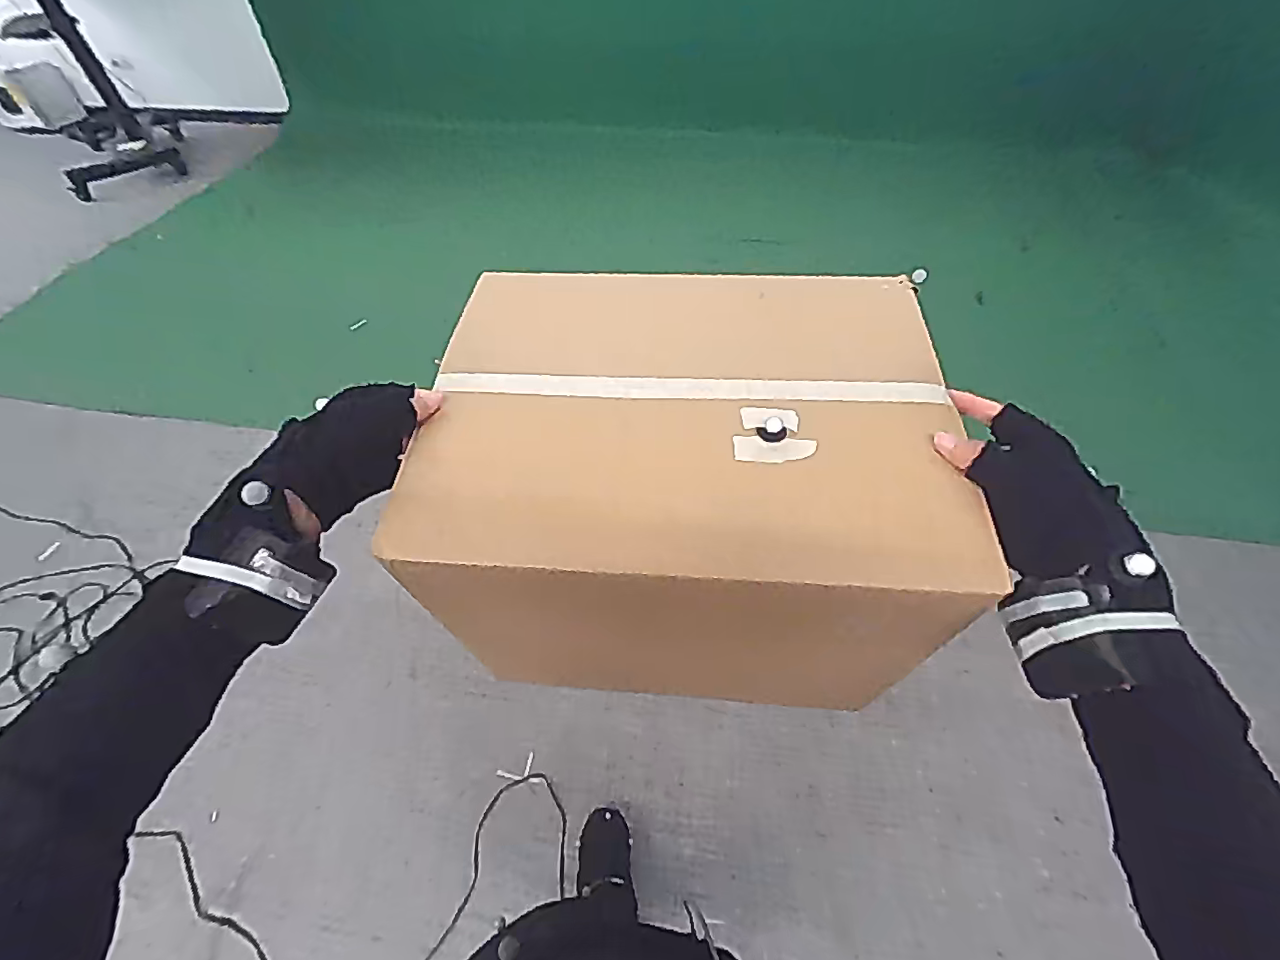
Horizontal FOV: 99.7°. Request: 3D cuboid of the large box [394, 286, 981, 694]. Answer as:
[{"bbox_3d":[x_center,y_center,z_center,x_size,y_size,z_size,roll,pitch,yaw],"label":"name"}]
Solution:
[{"bbox_3d":[0.039,0.021,0.567,0.408,0.320,0.320,2,56,5],"label":"large box"}]
